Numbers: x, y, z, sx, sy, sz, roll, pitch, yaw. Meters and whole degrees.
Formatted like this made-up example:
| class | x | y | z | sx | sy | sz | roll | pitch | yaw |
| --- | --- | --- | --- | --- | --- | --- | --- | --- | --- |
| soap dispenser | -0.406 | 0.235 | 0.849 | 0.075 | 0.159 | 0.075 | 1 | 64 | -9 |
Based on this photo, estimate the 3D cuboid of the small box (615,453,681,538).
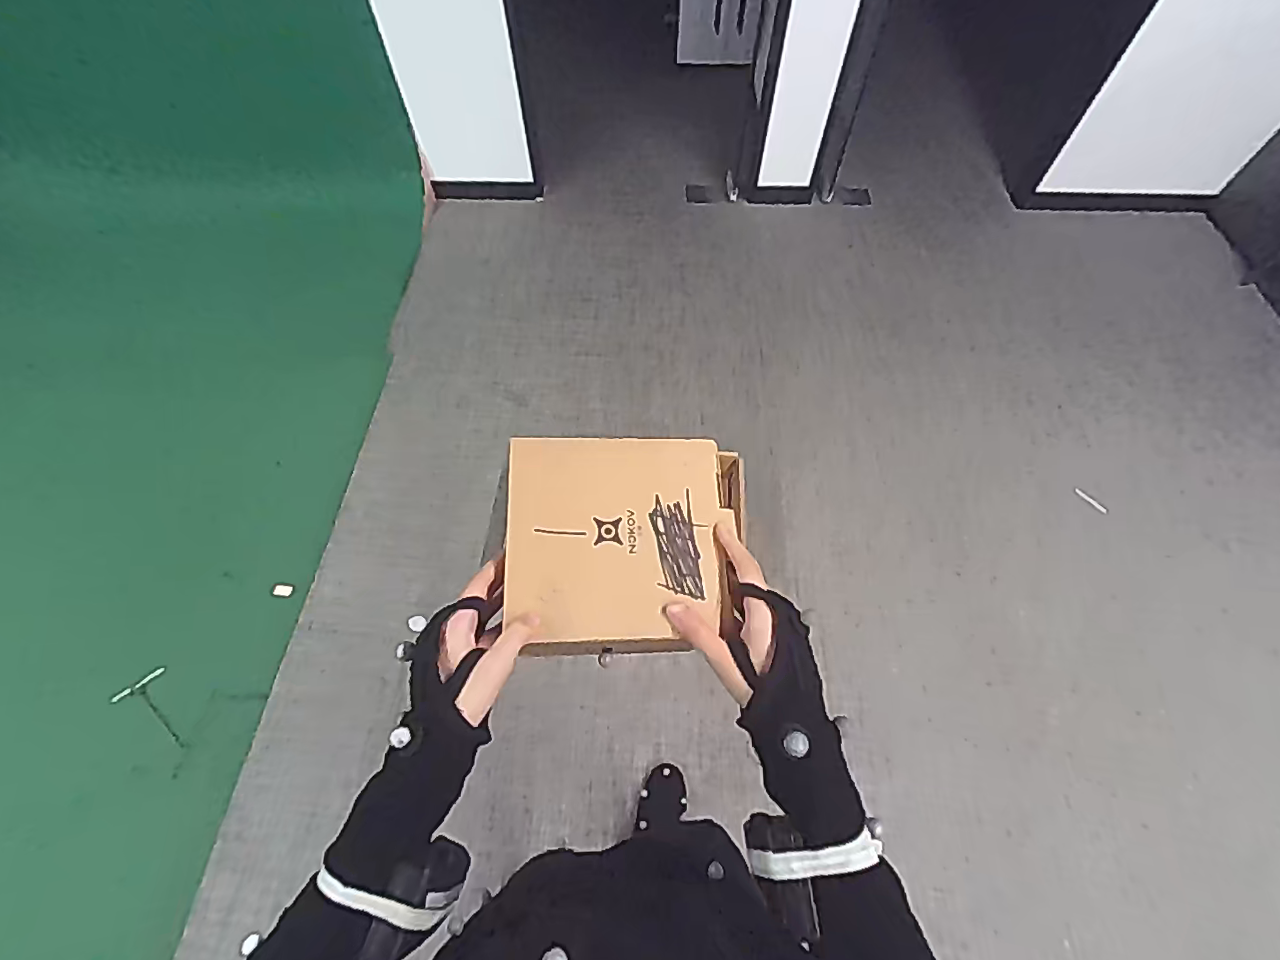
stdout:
| class | x | y | z | sx | sy | sz | roll | pitch | yaw |
| --- | --- | --- | --- | --- | --- | --- | --- | --- | --- |
| small box | 0.024 | 0.044 | 1.503 | 0.168 | 0.176 | 0.179 | 3 | 61 | 4 |
